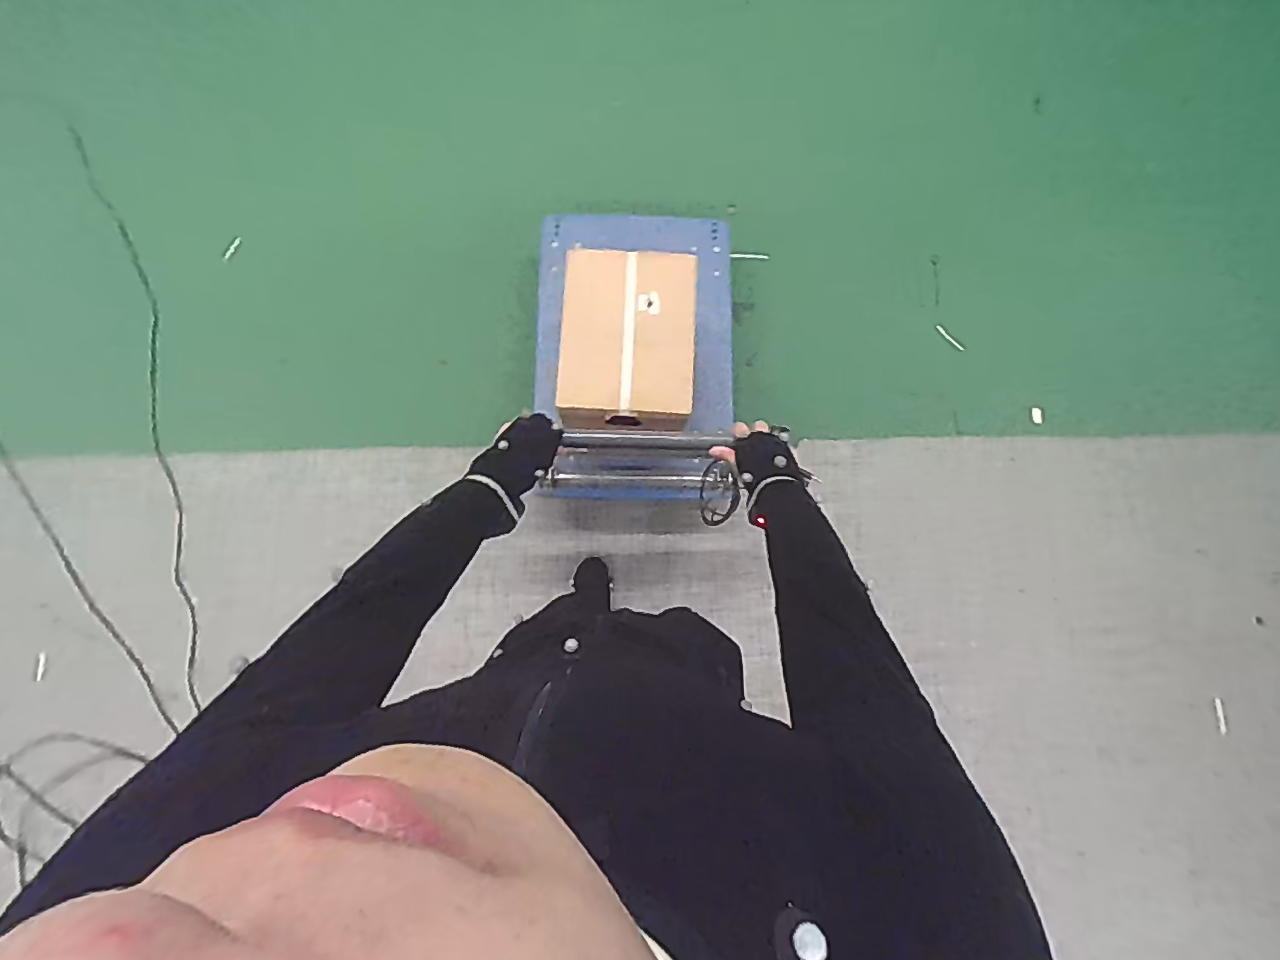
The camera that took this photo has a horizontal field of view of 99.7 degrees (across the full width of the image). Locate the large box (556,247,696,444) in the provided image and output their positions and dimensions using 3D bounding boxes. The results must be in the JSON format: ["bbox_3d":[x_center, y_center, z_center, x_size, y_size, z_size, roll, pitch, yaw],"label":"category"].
[{"bbox_3d":[-0.032,-0.324,1.398,0.320,0.320,0.408,4,79,-2],"label":"large box"}]
